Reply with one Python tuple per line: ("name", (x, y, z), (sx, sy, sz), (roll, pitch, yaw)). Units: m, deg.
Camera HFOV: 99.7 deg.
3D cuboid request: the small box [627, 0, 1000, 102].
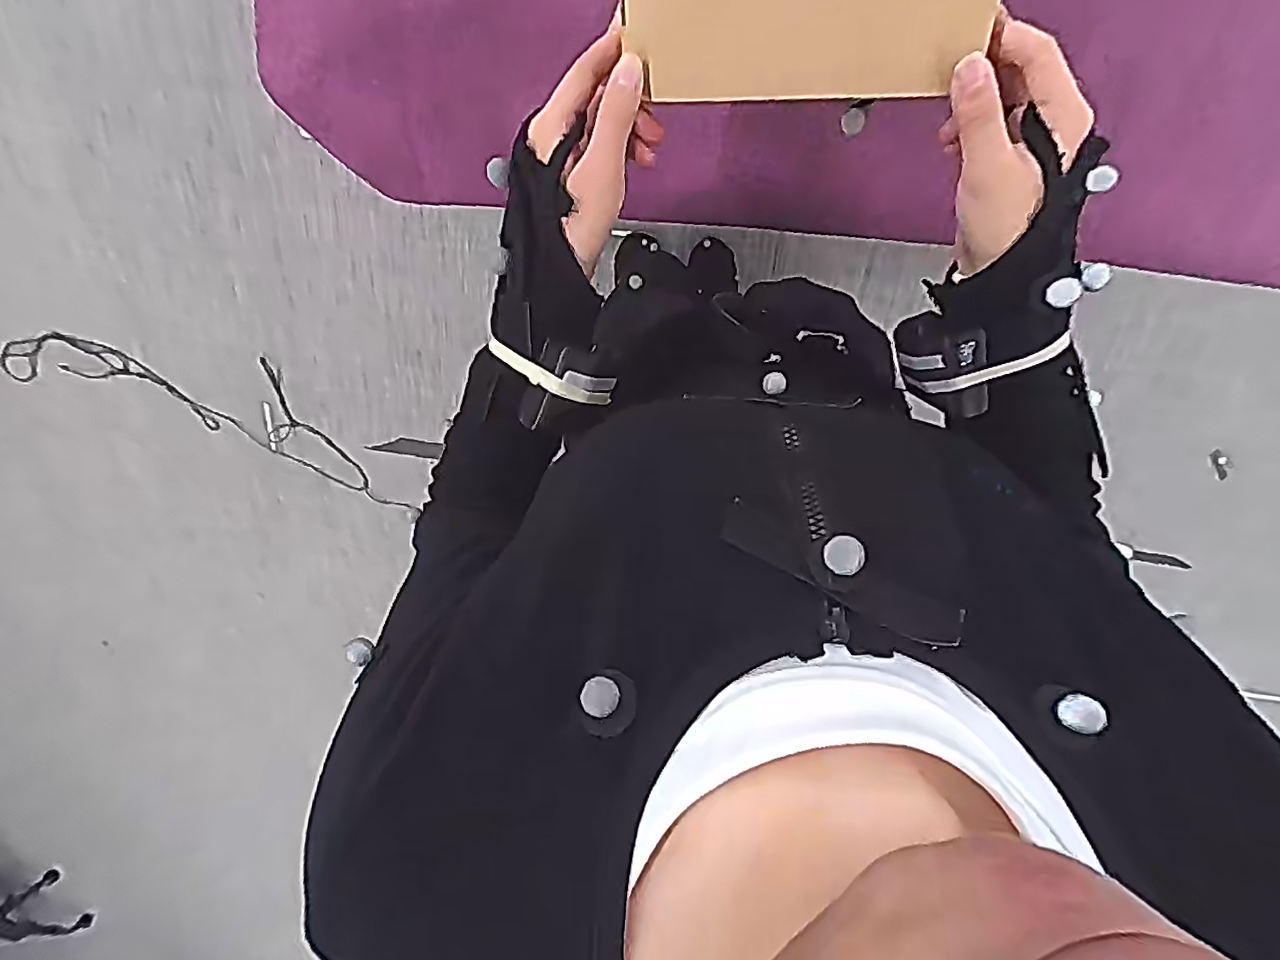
("small box", (0.087, -0.308, 0.293), (0.179, 0.176, 0.168), (3, 125, 5))
